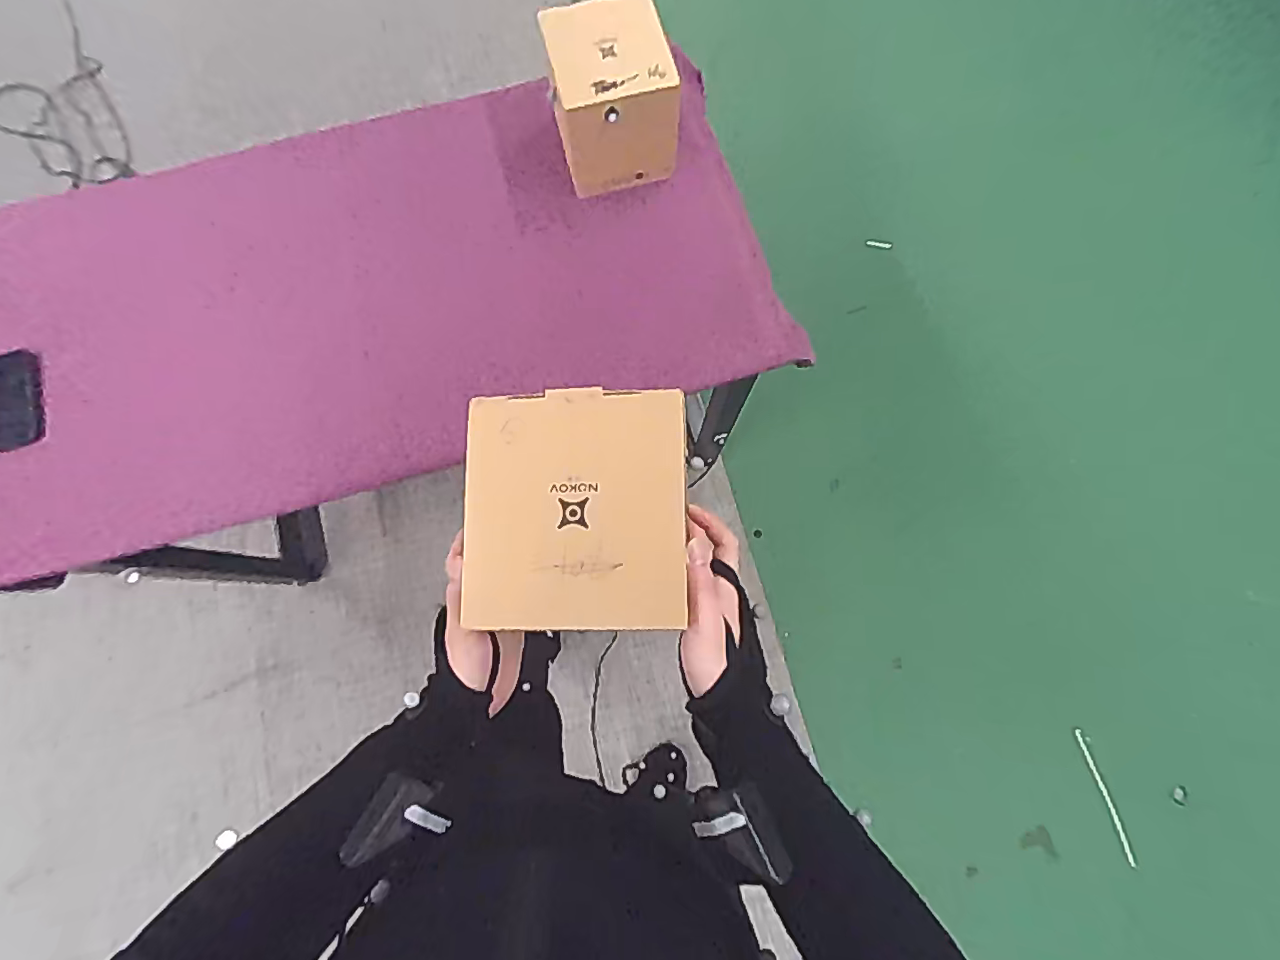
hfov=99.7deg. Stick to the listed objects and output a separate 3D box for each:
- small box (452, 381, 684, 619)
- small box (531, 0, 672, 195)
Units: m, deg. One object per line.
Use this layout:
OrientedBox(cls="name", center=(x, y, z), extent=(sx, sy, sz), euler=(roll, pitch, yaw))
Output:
OrientedBox(cls="small box", center=(-0.047, 0.025, 0.475), extent=(0.168, 0.176, 0.179), euler=(-2, 82, 7))
OrientedBox(cls="small box", center=(-0.055, -0.579, 0.824), extent=(0.168, 0.176, 0.179), euler=(-16, 77, -2))
